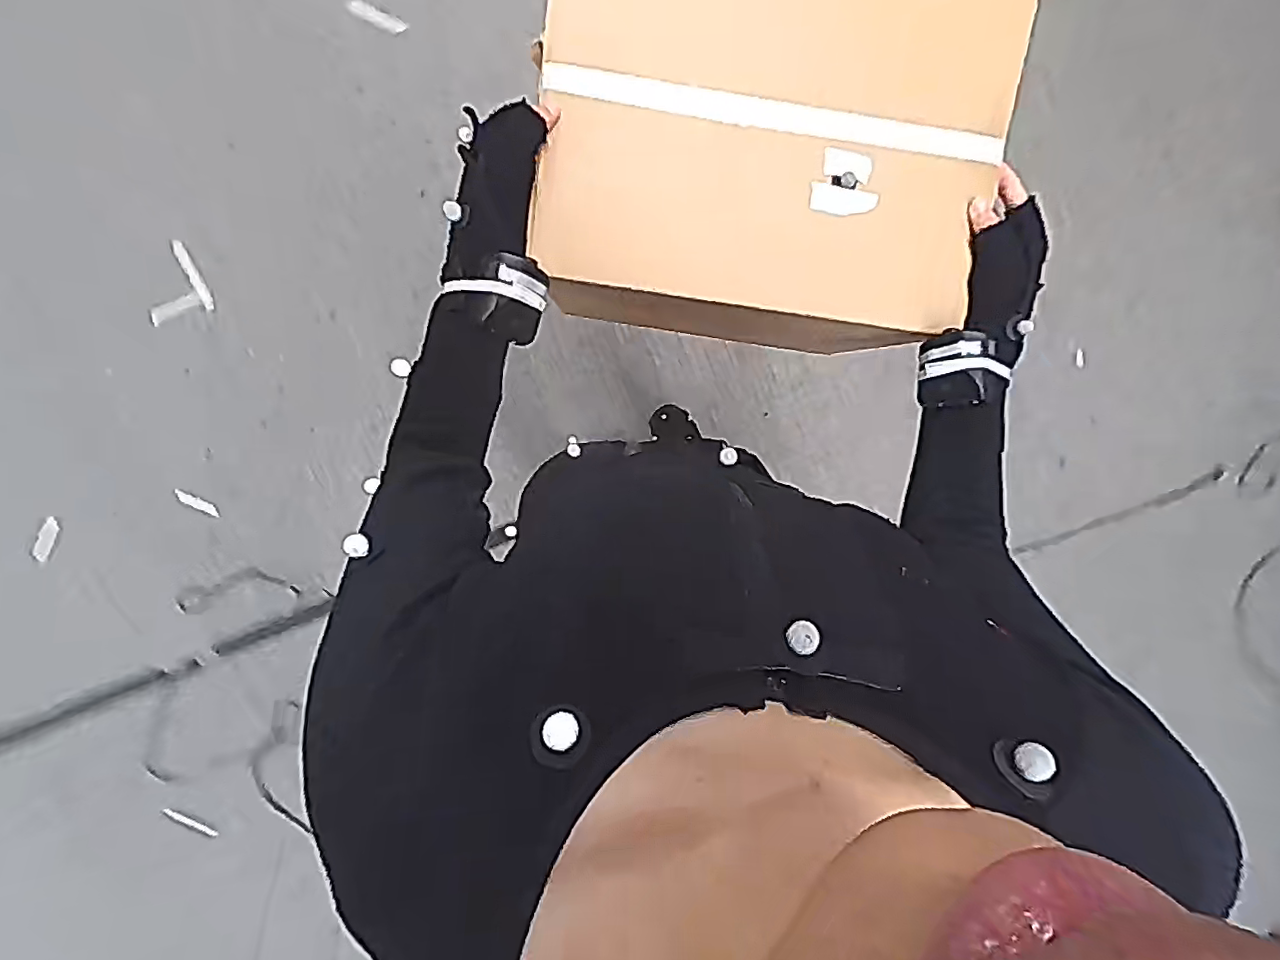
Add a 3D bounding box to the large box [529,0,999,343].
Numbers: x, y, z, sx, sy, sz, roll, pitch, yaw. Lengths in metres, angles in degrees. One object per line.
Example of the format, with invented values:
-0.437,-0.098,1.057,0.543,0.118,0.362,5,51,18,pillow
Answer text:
0.098,-0.344,0.628,0.408,0.320,0.320,5,101,-4,large box
